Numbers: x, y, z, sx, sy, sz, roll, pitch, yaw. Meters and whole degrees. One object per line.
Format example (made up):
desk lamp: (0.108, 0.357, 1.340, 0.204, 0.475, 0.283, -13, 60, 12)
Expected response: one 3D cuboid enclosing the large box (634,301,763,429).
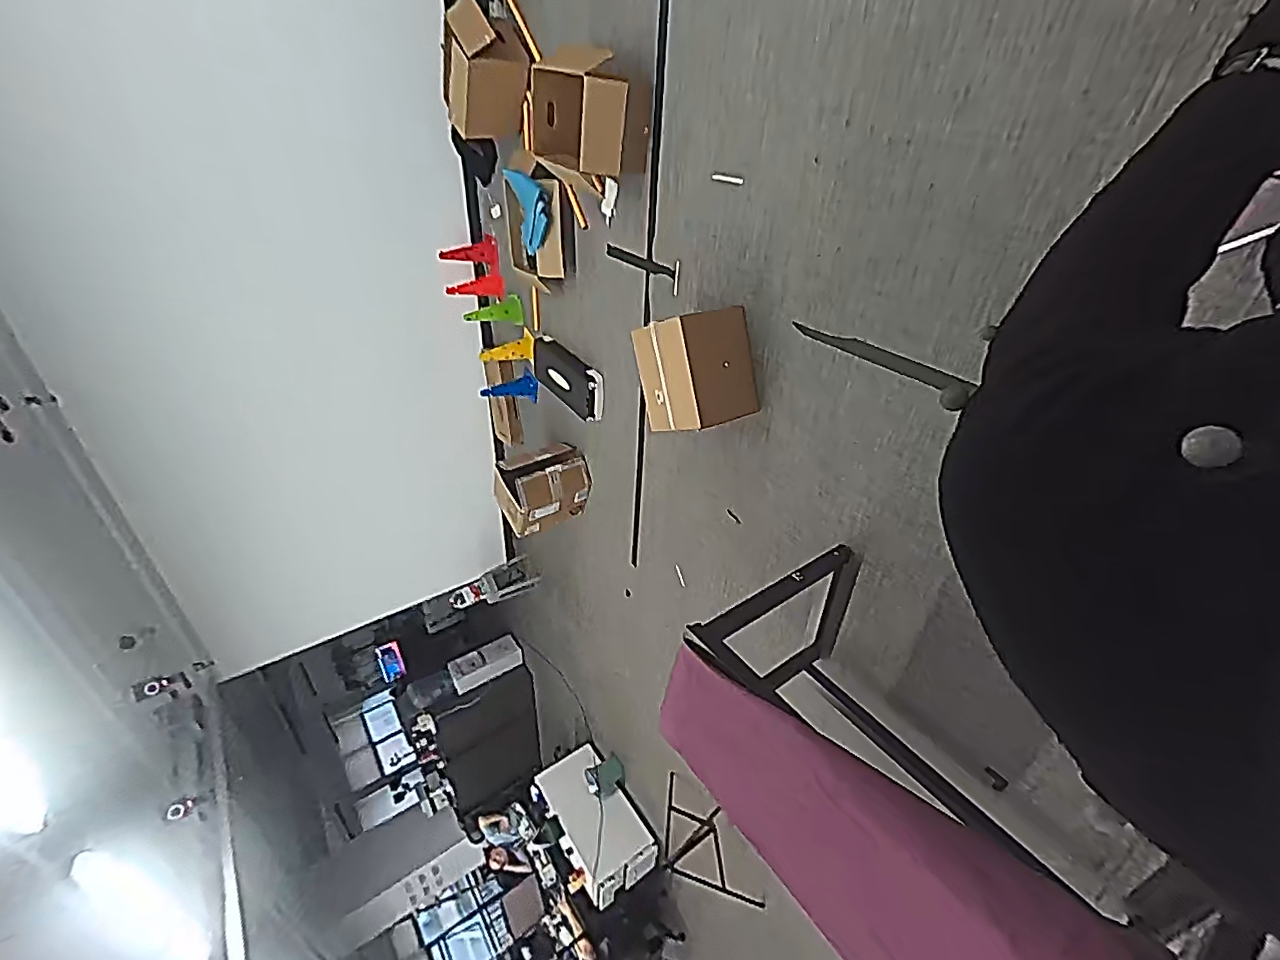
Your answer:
large box: (0.226, -0.431, 2.070, 0.320, 0.320, 0.408, 6, 113, 57)
